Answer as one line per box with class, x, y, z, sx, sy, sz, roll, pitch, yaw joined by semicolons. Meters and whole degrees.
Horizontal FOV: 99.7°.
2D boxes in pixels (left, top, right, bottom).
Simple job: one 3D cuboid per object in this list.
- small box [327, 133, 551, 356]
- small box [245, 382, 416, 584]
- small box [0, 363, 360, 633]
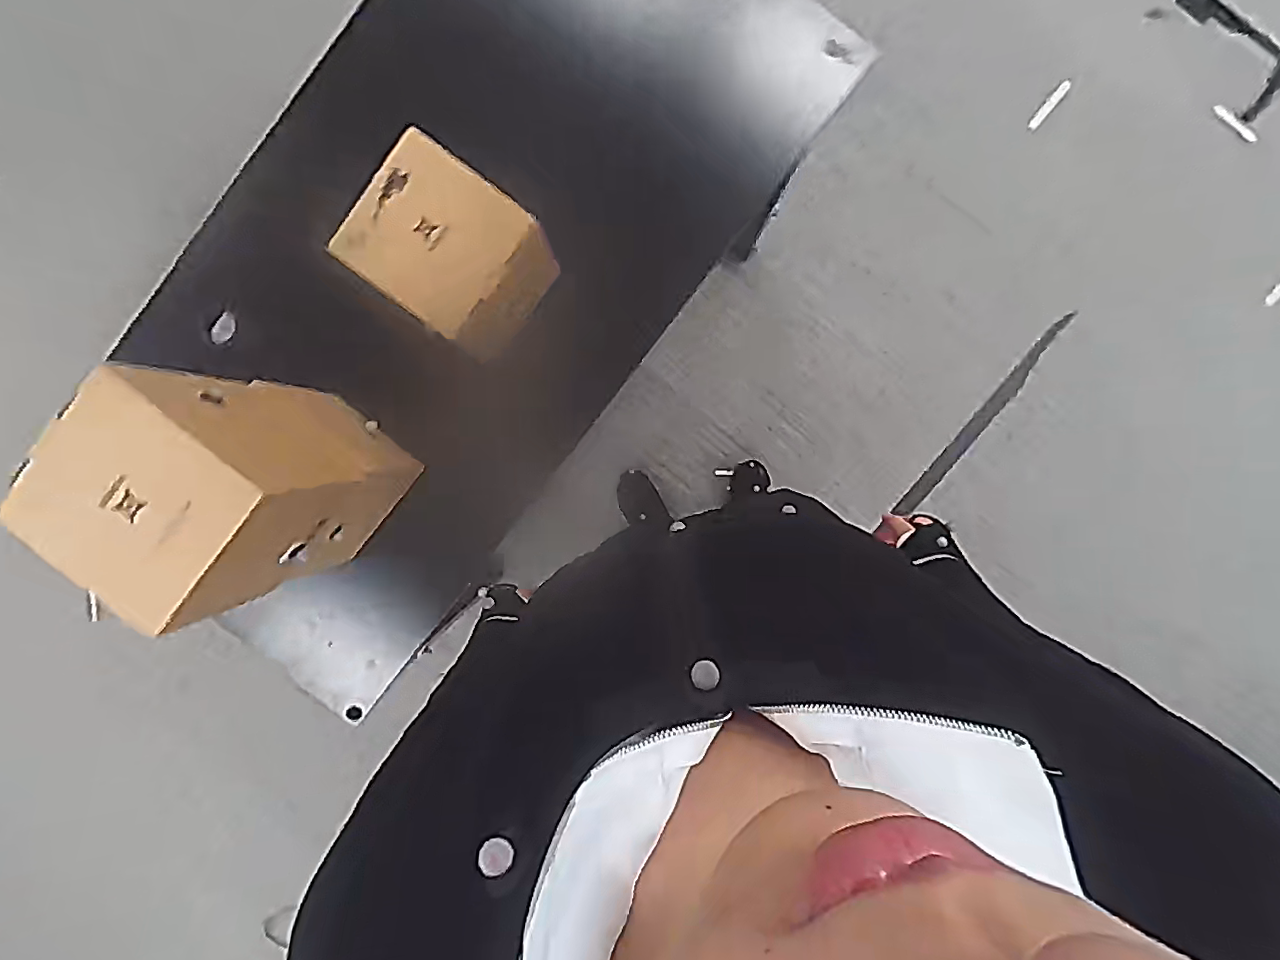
small box;-0.233;-0.275;0.682;0.179;0.176;0.168;37;93;-1
small box;-0.427;0.002;0.695;0.168;0.176;0.179;39;91;-2
small box;-0.428;0.013;0.533;0.179;0.176;0.168;38;94;-2
